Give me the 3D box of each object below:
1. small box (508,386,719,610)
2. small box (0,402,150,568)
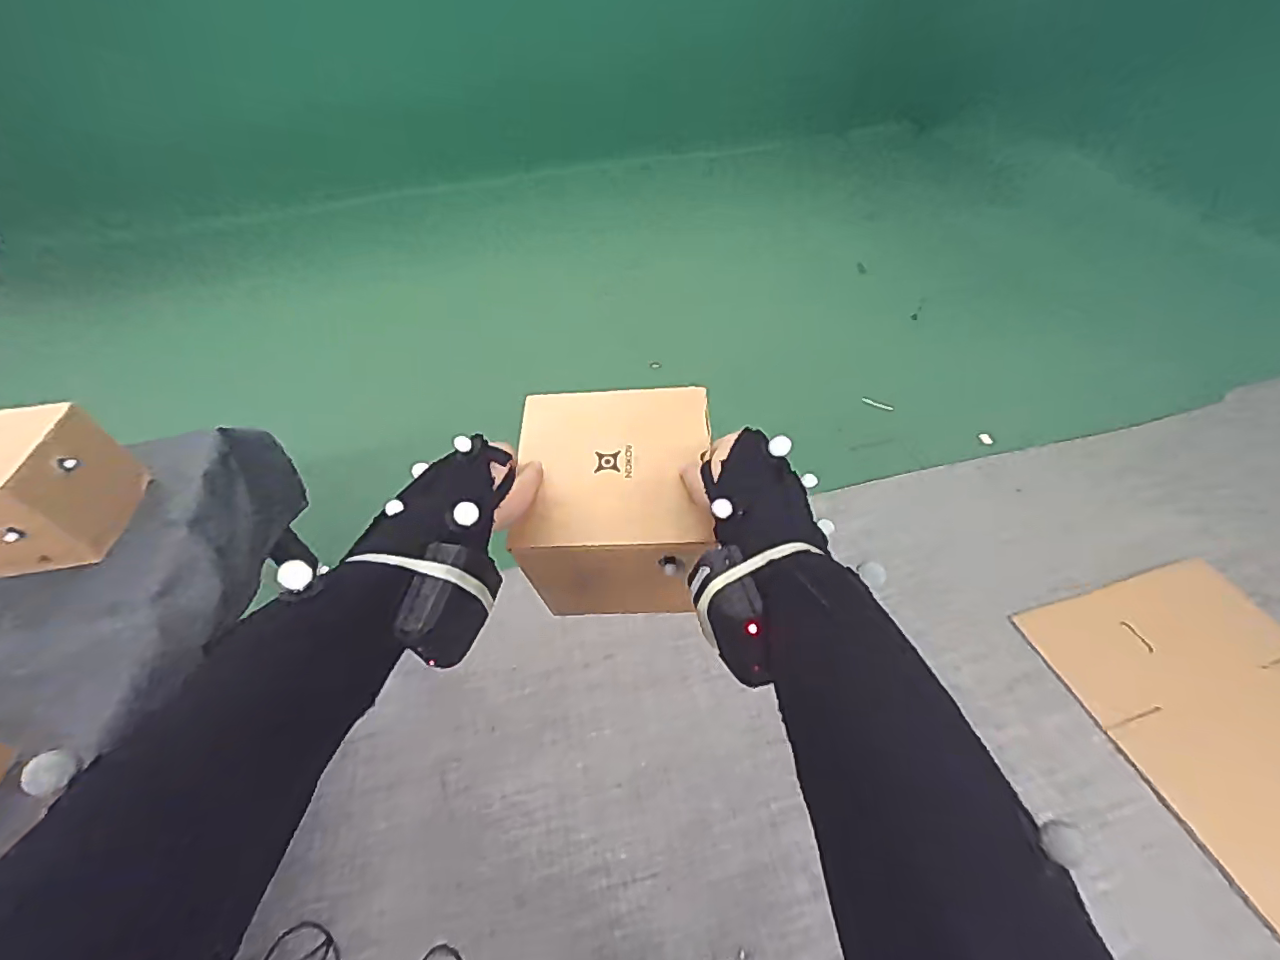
[{"bbox_3d":[-0.015,0.026,0.543,0.179,0.176,0.168,-2,57,4],"label":"small box"},{"bbox_3d":[-0.884,0.014,0.790,0.168,0.176,0.179,-8,48,-4],"label":"small box"}]
